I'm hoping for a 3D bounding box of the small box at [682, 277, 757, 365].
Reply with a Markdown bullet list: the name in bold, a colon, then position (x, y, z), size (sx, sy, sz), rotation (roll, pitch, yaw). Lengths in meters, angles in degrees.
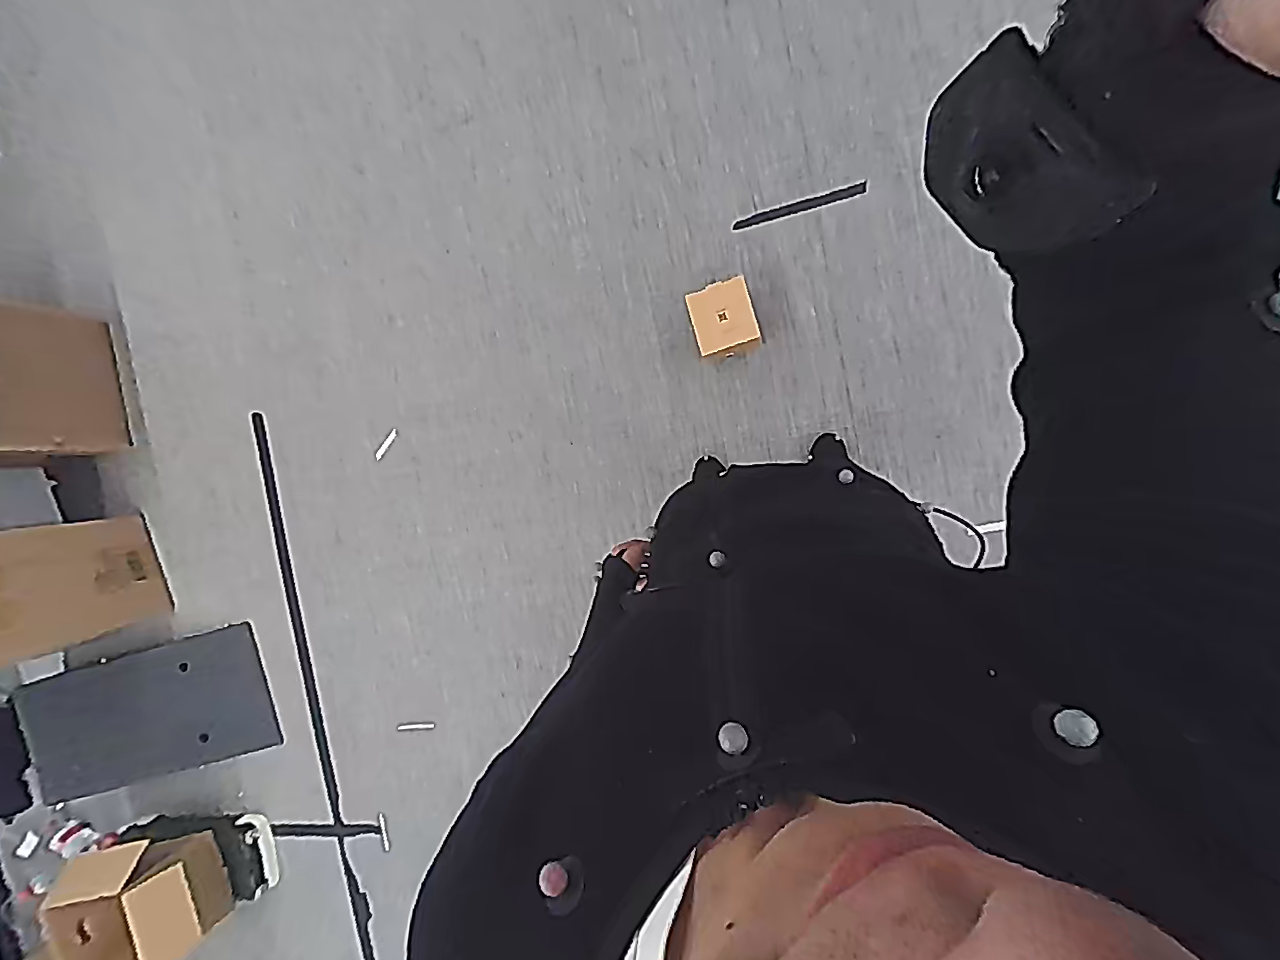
- **small box**: position (0.229, -0.444, 1.536), size (0.168, 0.176, 0.179), rotation (-16, 91, 14)
